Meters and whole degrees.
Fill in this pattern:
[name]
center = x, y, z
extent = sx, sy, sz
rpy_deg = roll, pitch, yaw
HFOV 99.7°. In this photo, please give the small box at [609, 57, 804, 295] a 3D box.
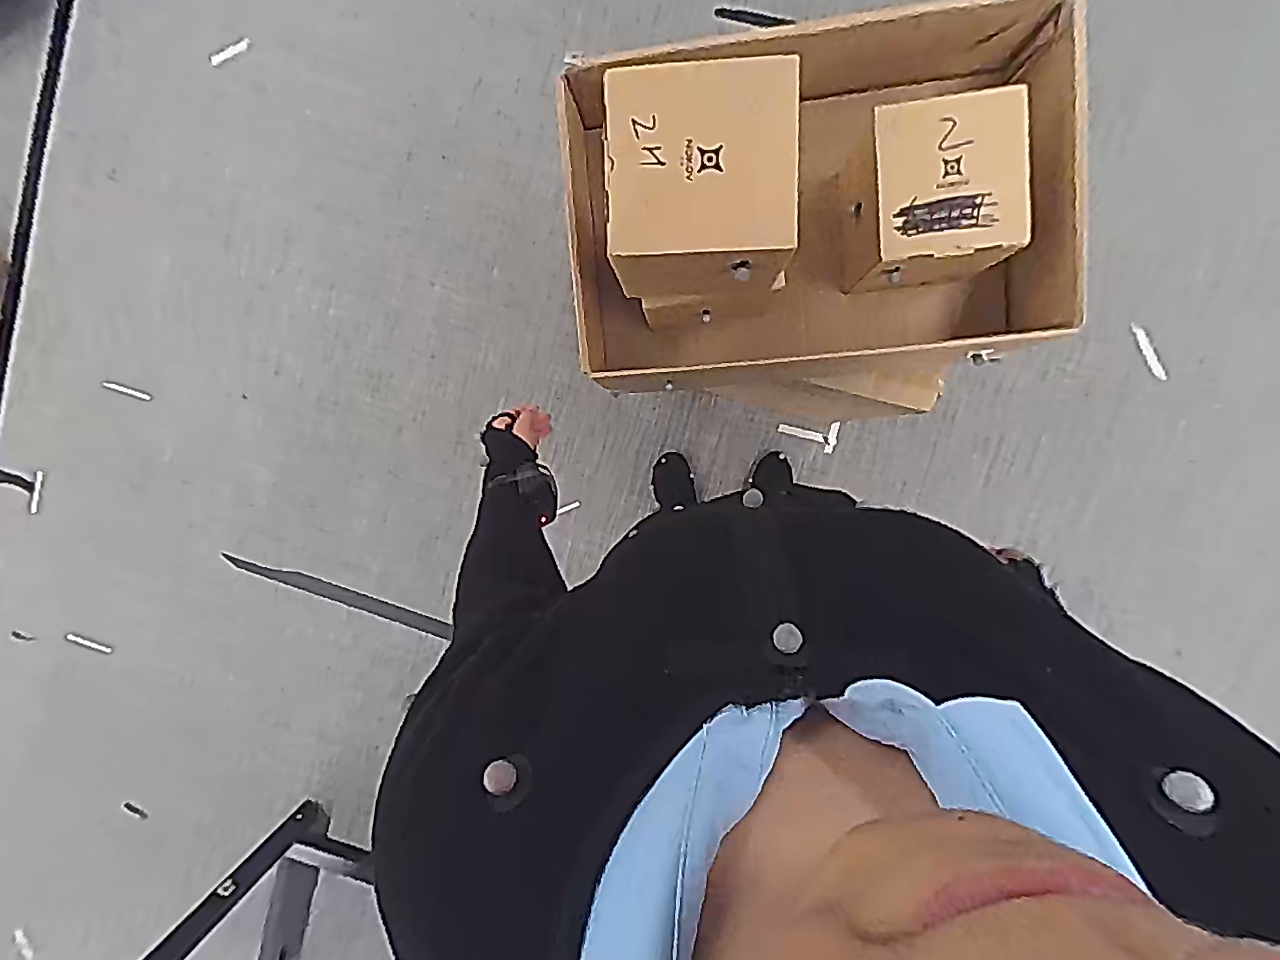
[small box]
center = 0.065, -0.298, 0.568
extent = 0.179, 0.176, 0.168
rpy_deg = 0, 95, 6
